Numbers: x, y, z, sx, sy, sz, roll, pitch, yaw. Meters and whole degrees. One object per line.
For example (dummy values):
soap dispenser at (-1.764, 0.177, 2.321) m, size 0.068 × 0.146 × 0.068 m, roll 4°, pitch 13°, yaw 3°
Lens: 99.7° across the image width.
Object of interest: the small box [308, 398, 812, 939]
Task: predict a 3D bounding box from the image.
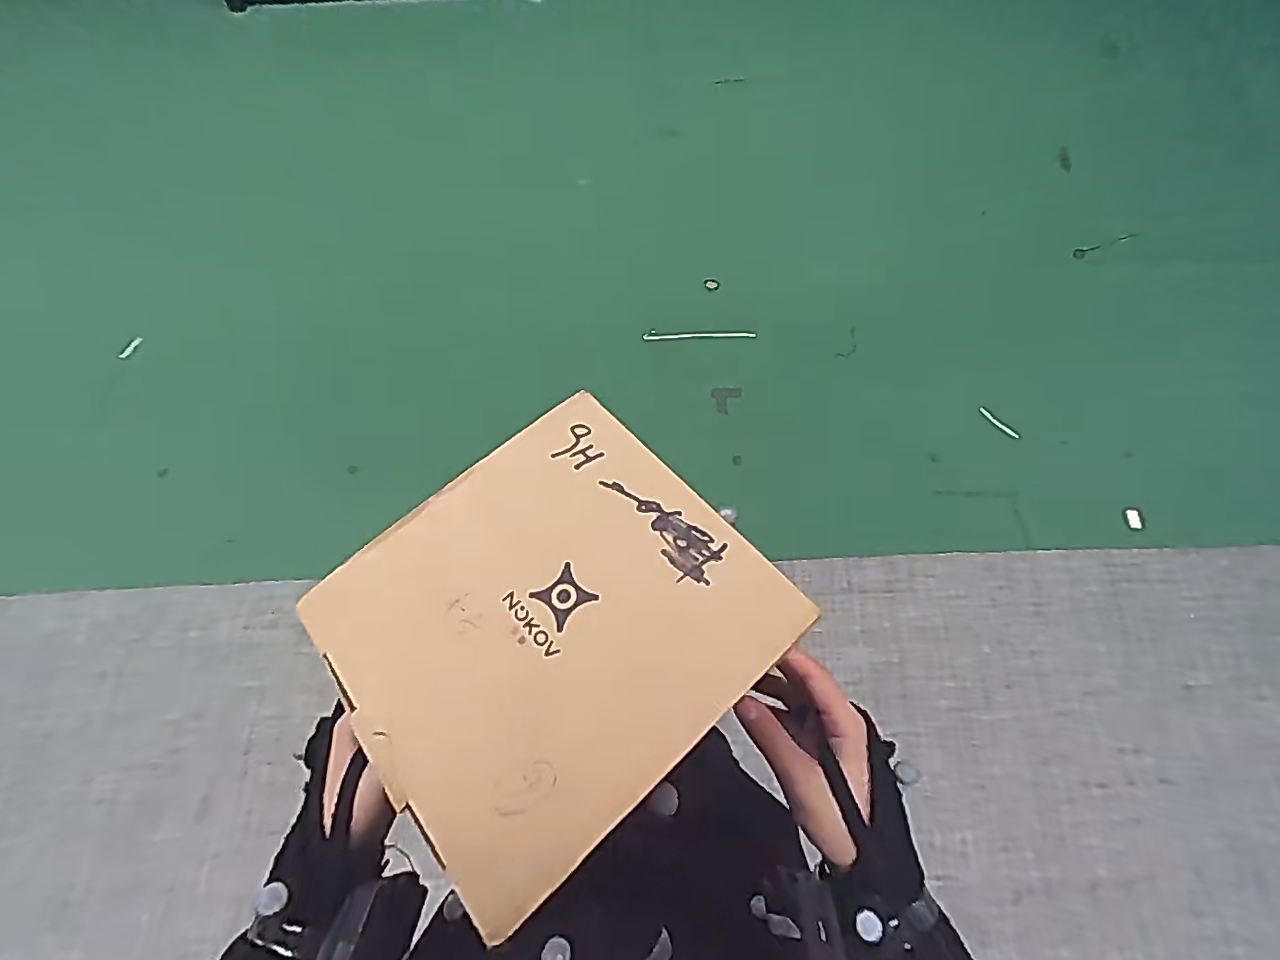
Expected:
small box at (-0.033, 0.096, 0.311) m, size 0.179 × 0.176 × 0.168 m, roll -40°, pitch 66°, yaw -14°
